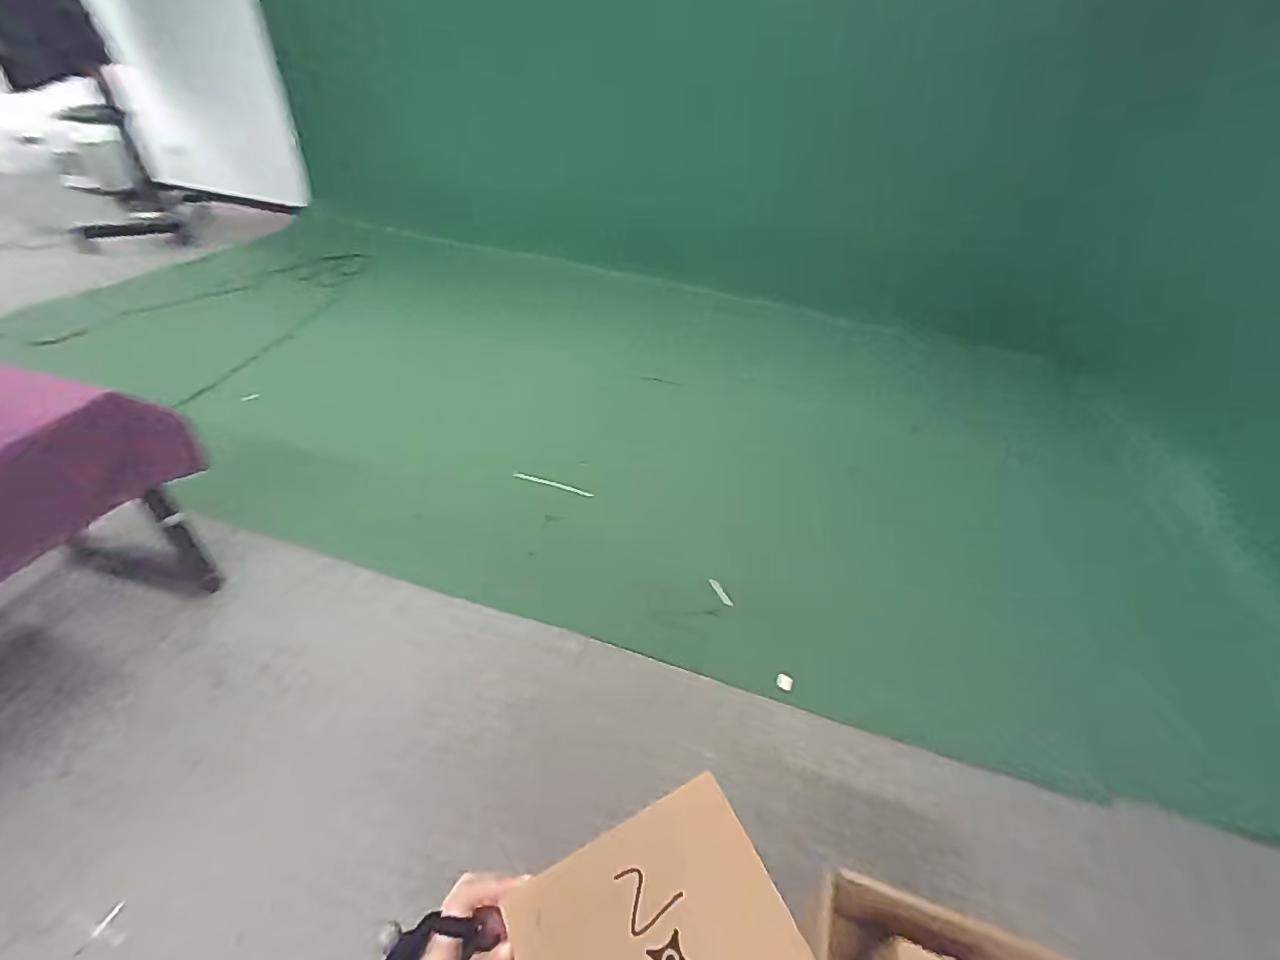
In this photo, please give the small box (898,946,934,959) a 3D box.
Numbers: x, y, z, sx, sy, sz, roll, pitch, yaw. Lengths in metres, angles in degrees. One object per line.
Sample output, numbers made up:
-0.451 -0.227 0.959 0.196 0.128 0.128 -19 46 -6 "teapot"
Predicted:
0.378 0.736 0.667 0.168 0.176 0.179 16 40 14 "small box"
